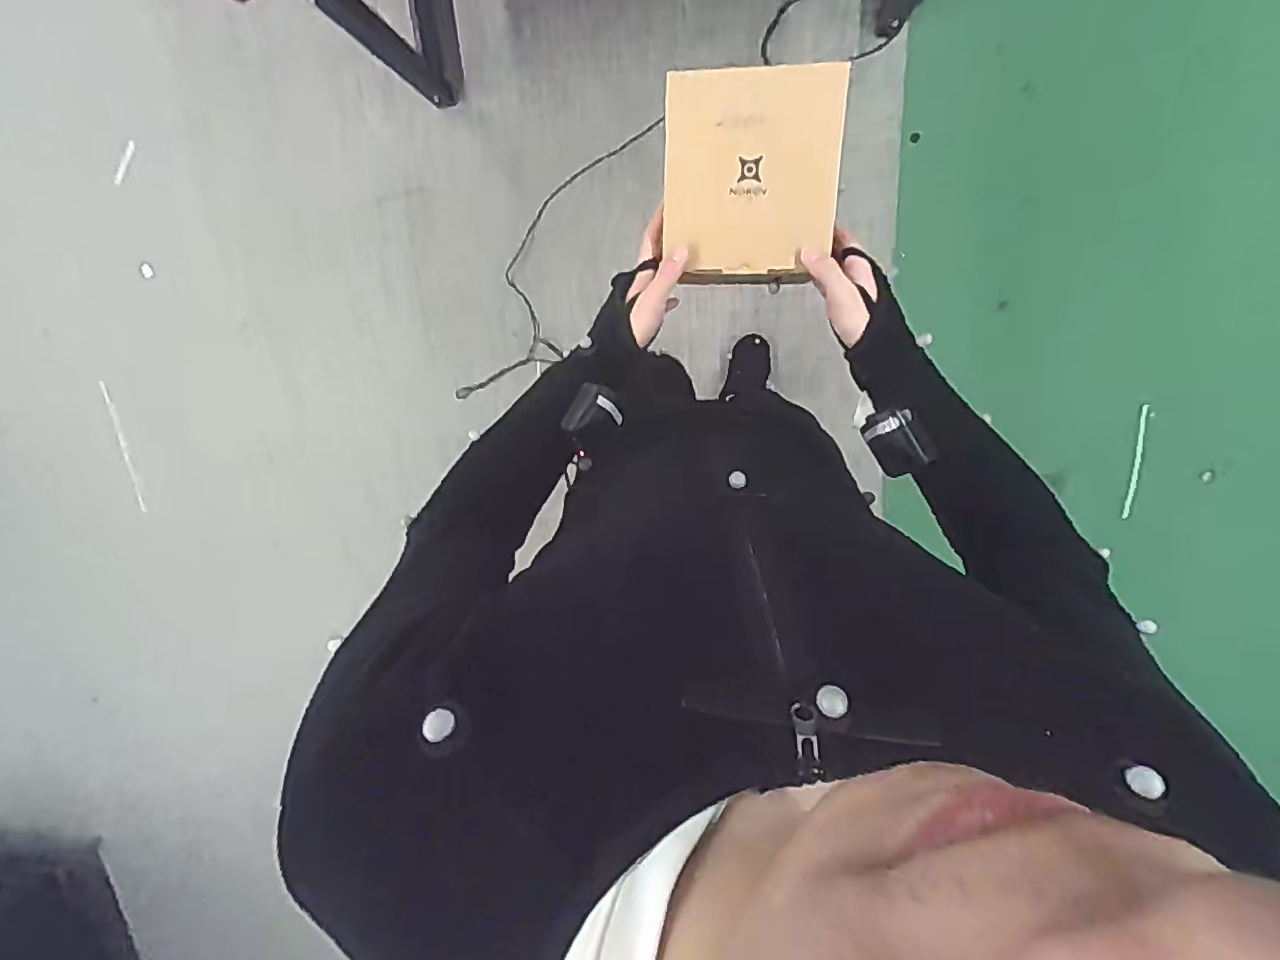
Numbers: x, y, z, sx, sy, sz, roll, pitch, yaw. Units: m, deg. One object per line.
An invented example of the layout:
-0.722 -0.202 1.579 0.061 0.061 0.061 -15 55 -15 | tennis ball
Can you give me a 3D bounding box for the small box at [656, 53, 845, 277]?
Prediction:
0.112 -0.317 0.583 0.168 0.176 0.179 3 106 9 | small box
